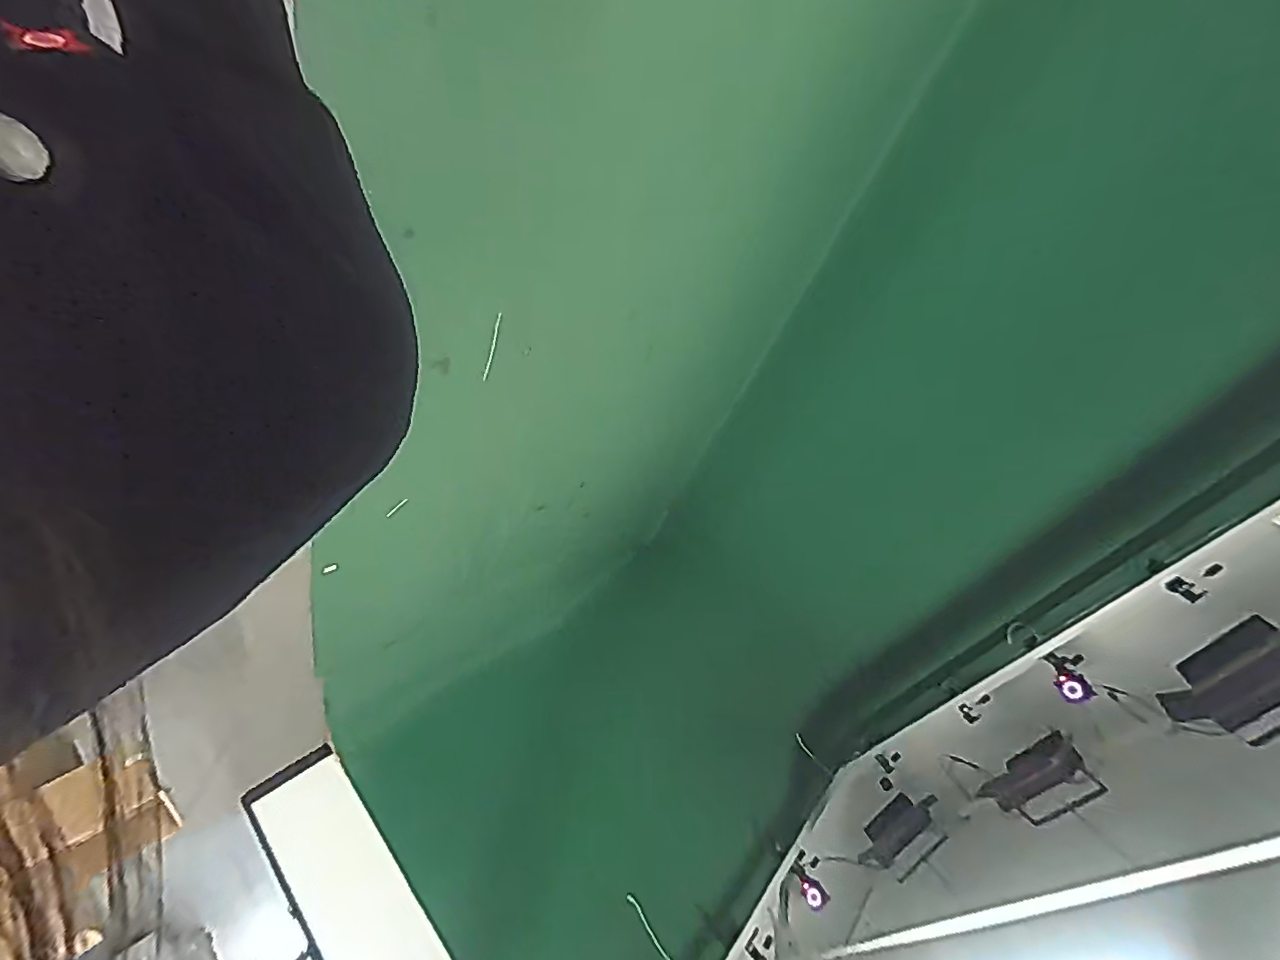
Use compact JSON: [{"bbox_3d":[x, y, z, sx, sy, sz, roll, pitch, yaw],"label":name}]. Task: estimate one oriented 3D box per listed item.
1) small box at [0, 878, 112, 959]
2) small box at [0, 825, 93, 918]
[{"bbox_3d":[-1.553,1.198,1.426,0.168,0.176,0.179,-28,153,-43],"label":"small box"},{"bbox_3d":[-1.661,1.088,1.480,0.168,0.176,0.179,-29,154,-40],"label":"small box"}]
